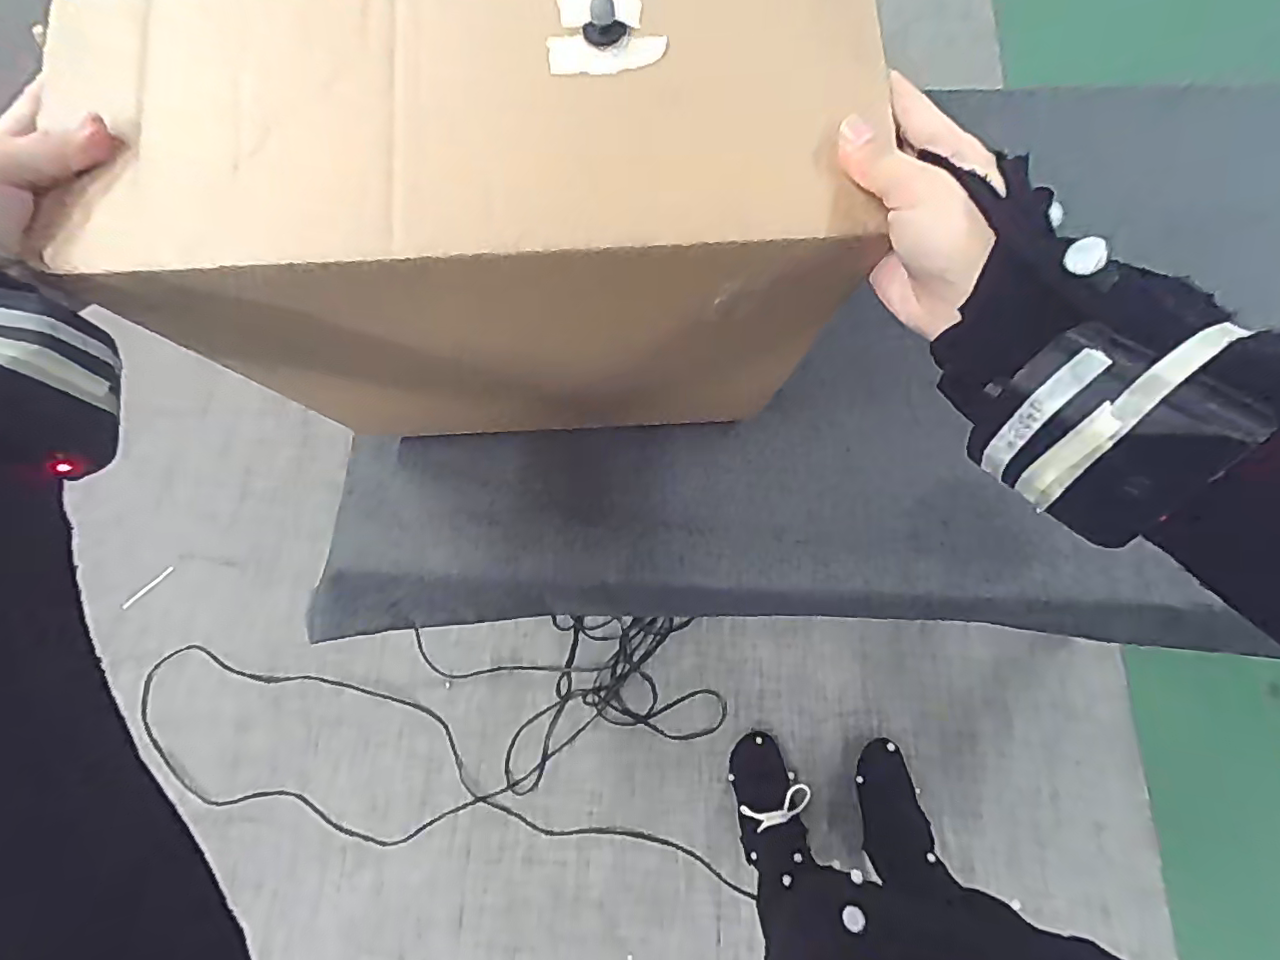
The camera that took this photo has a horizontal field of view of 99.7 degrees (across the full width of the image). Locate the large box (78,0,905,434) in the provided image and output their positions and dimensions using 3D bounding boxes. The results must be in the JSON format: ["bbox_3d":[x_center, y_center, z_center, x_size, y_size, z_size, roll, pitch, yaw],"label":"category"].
[{"bbox_3d":[-0.081,-0.233,0.431,0.408,0.320,0.320,-3,81,-2],"label":"large box"}]
